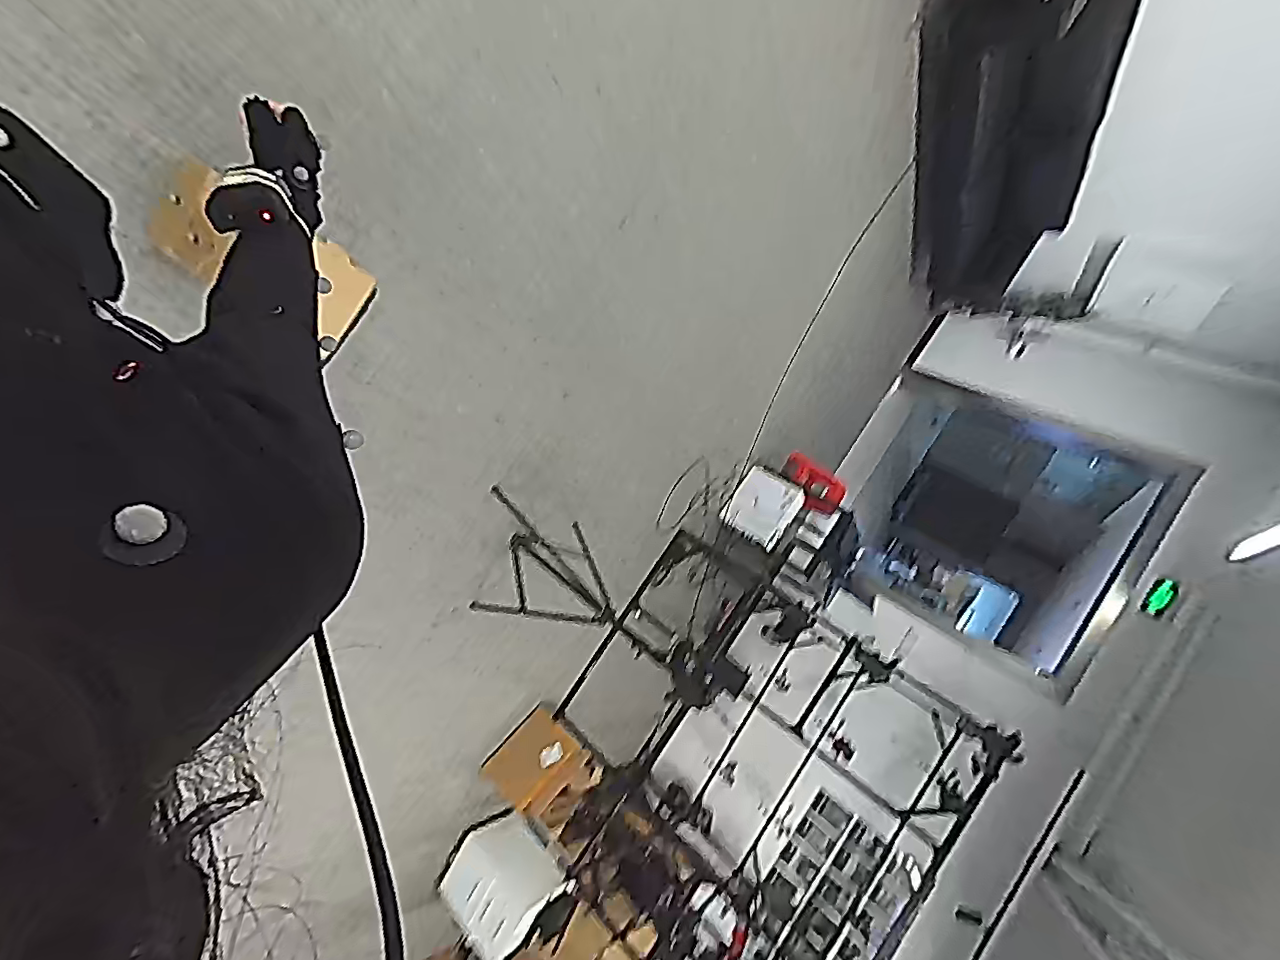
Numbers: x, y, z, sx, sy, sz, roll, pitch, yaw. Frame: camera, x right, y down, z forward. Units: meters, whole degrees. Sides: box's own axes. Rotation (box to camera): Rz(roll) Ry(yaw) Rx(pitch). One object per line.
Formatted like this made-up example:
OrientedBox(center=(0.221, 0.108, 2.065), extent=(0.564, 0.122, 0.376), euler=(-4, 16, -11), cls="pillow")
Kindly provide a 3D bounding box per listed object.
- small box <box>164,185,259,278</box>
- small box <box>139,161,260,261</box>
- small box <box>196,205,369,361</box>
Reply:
OrientedBox(center=(-0.747, -0.428, 1.026), extent=(0.168, 0.176, 0.179), euler=(-56, 150, -1), cls="small box")
OrientedBox(center=(-0.869, -0.508, 1.097), extent=(0.179, 0.176, 0.168), euler=(-60, 150, 1), cls="small box")
OrientedBox(center=(-0.628, -0.347, 0.948), extent=(0.179, 0.176, 0.168), euler=(-57, 149, -2), cls="small box")
